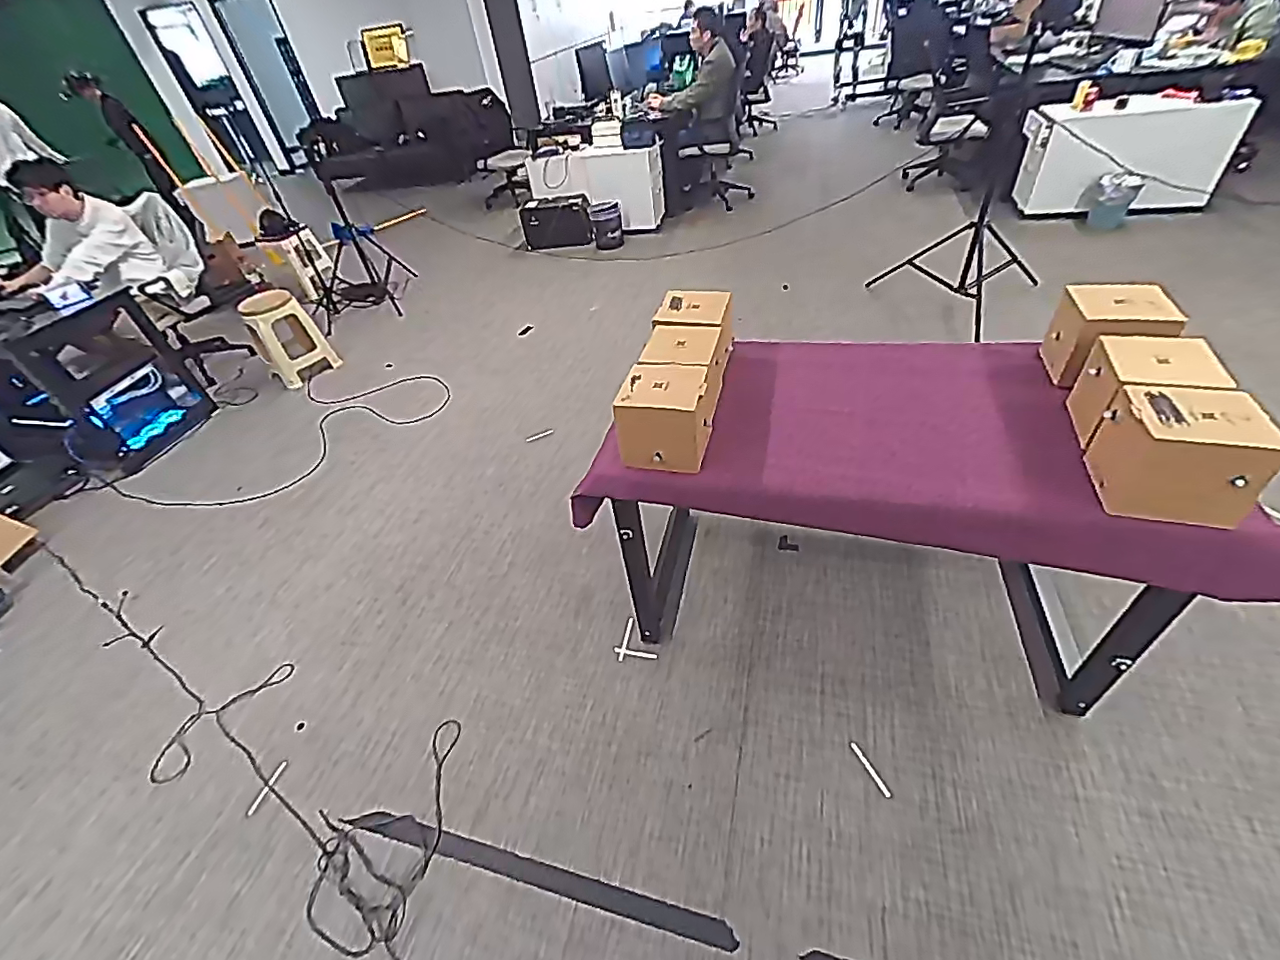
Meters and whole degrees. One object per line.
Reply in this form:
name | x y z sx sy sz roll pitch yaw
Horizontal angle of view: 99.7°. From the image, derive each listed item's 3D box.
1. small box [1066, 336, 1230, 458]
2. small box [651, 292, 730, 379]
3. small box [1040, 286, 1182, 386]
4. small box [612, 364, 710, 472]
small box | 0.974 -0.163 1.059 0.168 0.176 0.179 8 44 20
small box | 0.141 -0.385 1.442 0.179 0.176 0.168 8 47 16
small box | 1.031 -0.318 1.208 0.179 0.176 0.168 6 45 16
small box | 0.054 -0.135 1.188 0.179 0.176 0.168 7 43 15
